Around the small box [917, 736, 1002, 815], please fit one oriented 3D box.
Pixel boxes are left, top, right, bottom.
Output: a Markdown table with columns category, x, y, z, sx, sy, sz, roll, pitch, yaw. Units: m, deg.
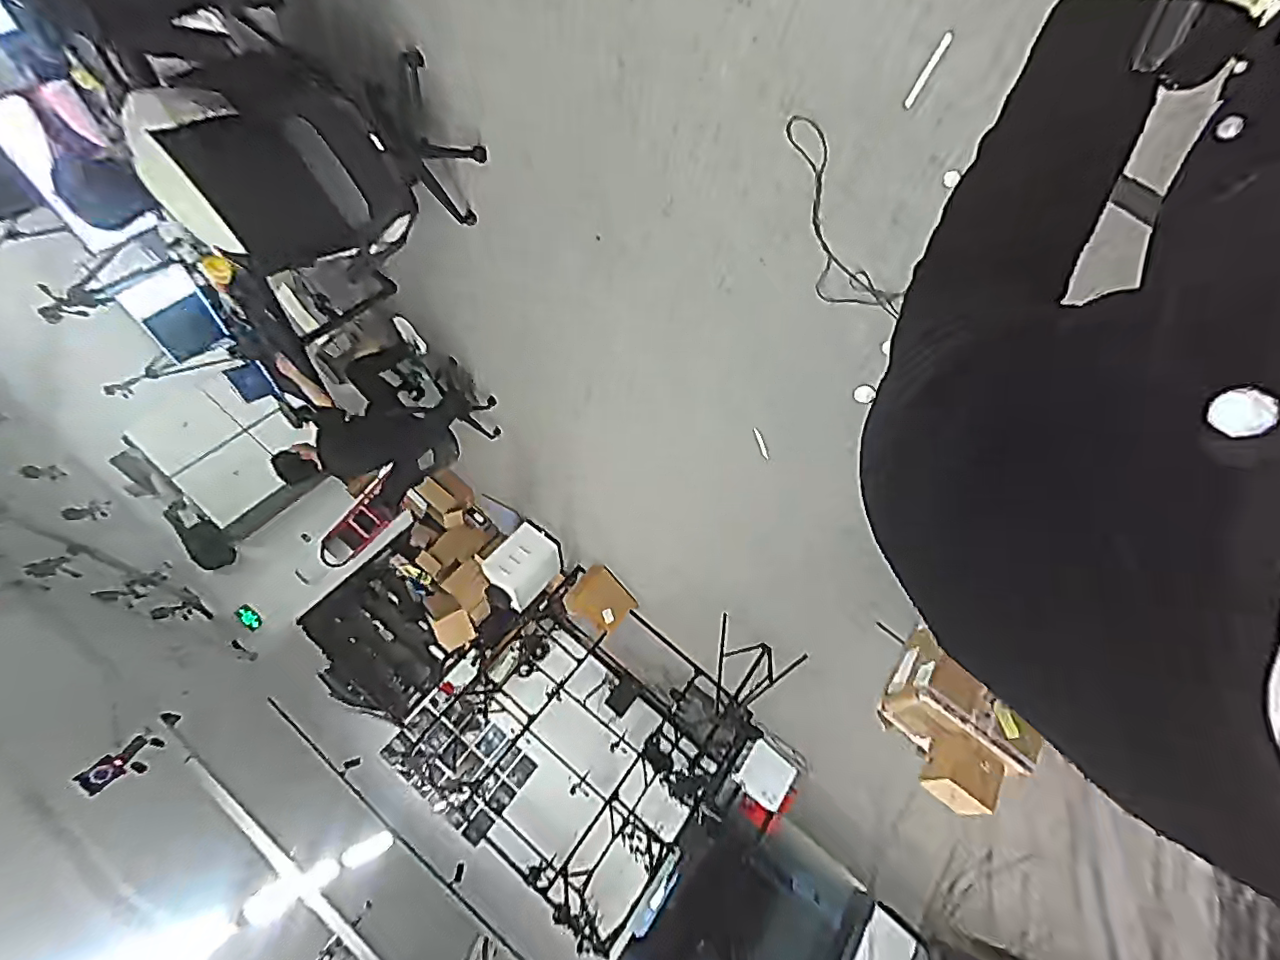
| category | x | y | z | sx | sy | sz | roll | pitch | yaw |
| --- | --- | --- | --- | --- | --- | --- | --- | --- | --- |
| small box | 1.089 | 1.003 | 1.838 | 0.168 | 0.176 | 0.179 | 36 | 147 | 12 |
